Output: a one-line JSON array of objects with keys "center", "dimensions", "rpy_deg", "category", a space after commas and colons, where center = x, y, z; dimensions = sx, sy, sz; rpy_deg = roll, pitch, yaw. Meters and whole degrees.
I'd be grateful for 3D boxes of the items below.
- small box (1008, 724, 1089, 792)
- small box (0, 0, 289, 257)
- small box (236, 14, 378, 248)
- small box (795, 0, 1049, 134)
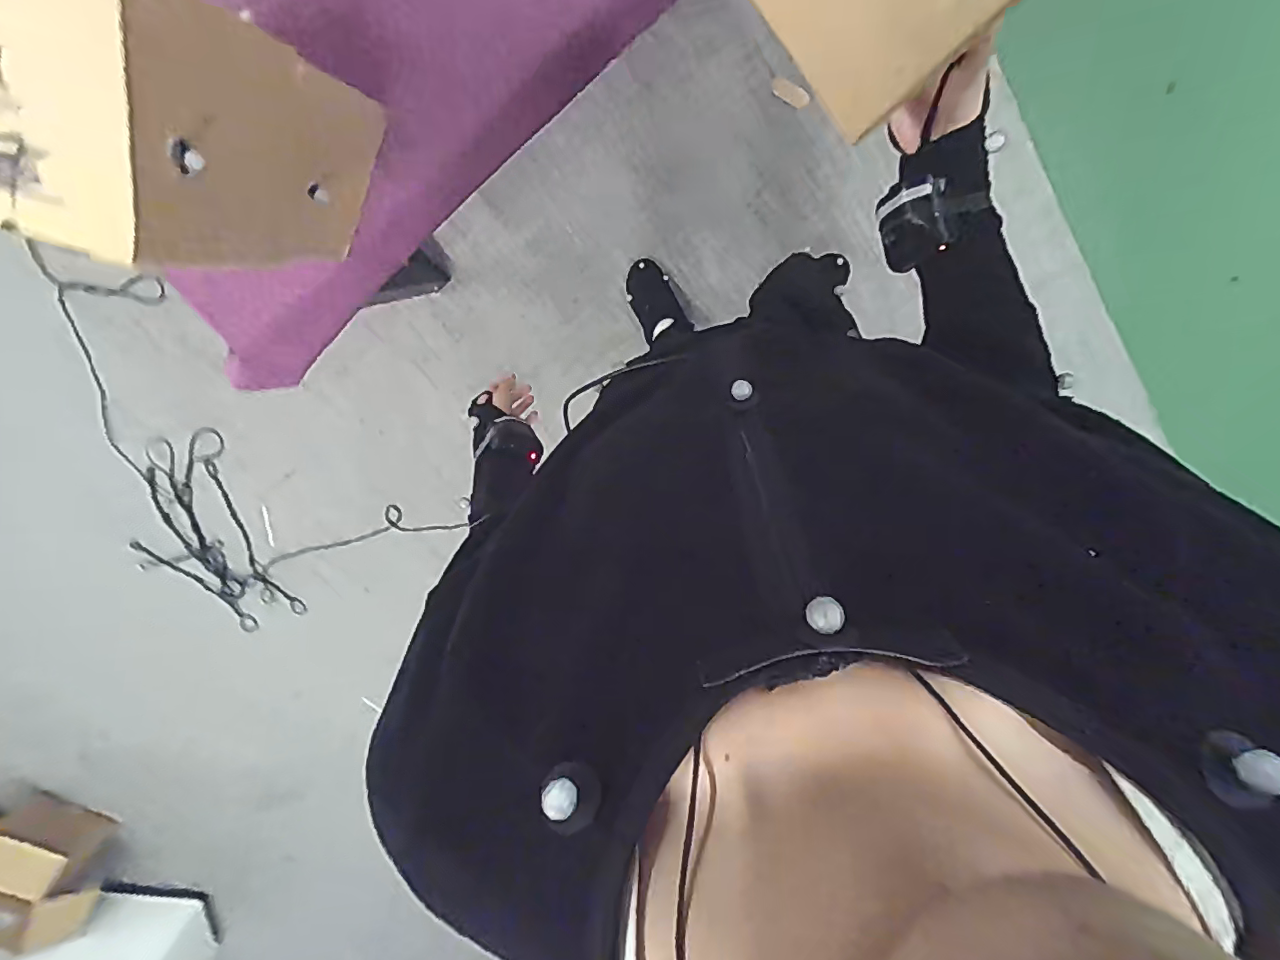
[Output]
[{"center": [1.346, 0.898, 1.823], "dimensions": [0.168, 0.176, 0.179], "rpy_deg": [-35, 109, 15], "category": "small box"}, {"center": [-0.388, -0.274, 0.392], "dimensions": [0.168, 0.176, 0.179], "rpy_deg": [15, 111, -5], "category": "small box"}, {"center": [-0.394, -0.349, 0.539], "dimensions": [0.168, 0.176, 0.179], "rpy_deg": [26, 111, -10], "category": "small box"}, {"center": [0.177, -0.341, 0.279], "dimensions": [0.176, 0.179, 0.168], "rpy_deg": [47, 66, -15], "category": "small box"}]
